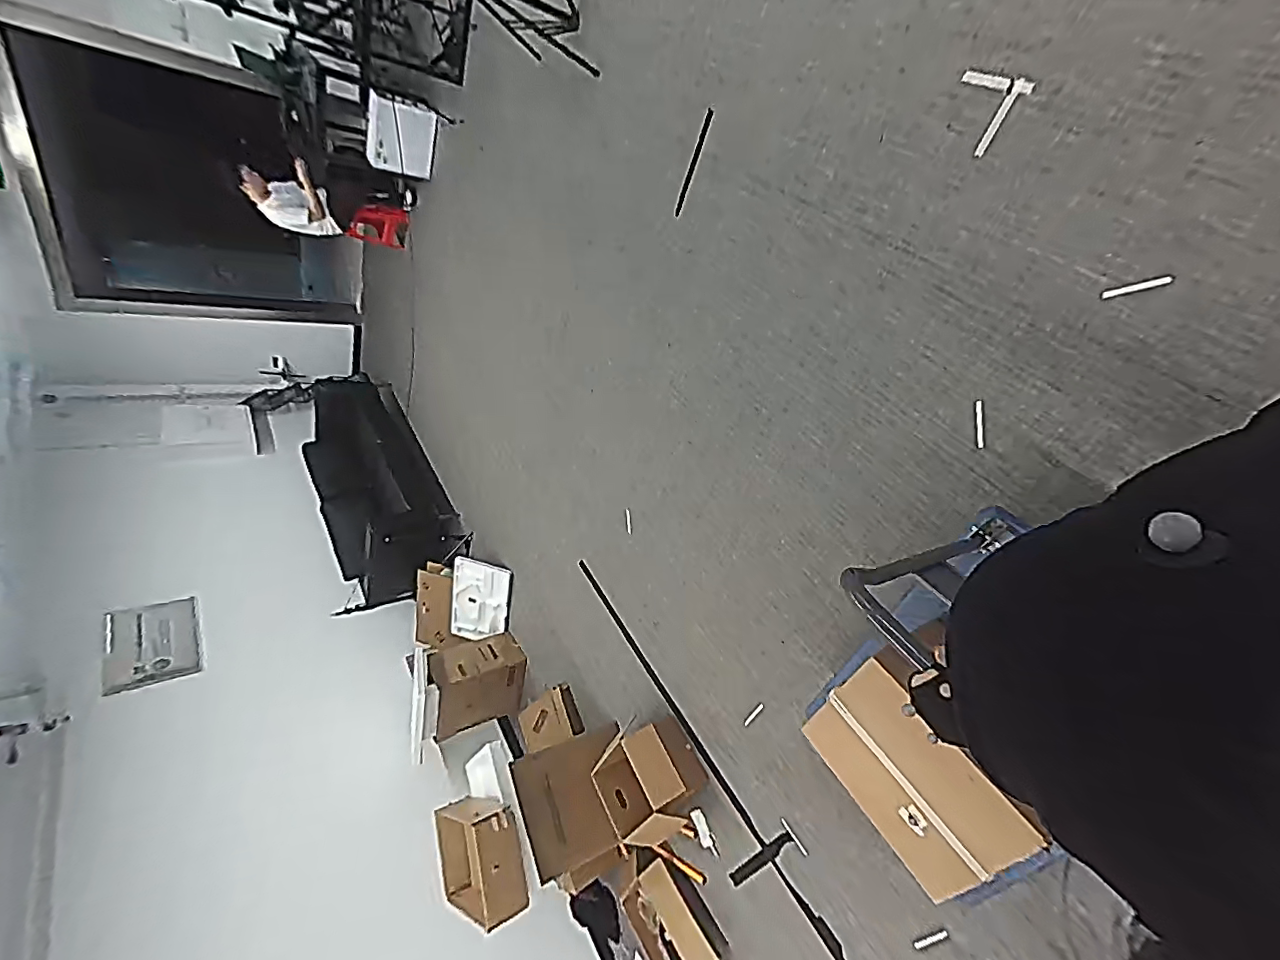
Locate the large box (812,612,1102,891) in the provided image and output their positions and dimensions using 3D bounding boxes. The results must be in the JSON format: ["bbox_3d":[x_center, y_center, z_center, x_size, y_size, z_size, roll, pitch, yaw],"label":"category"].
[{"bbox_3d":[0.685,0.574,1.210,0.408,0.320,0.320,50,132,34],"label":"large box"}]
